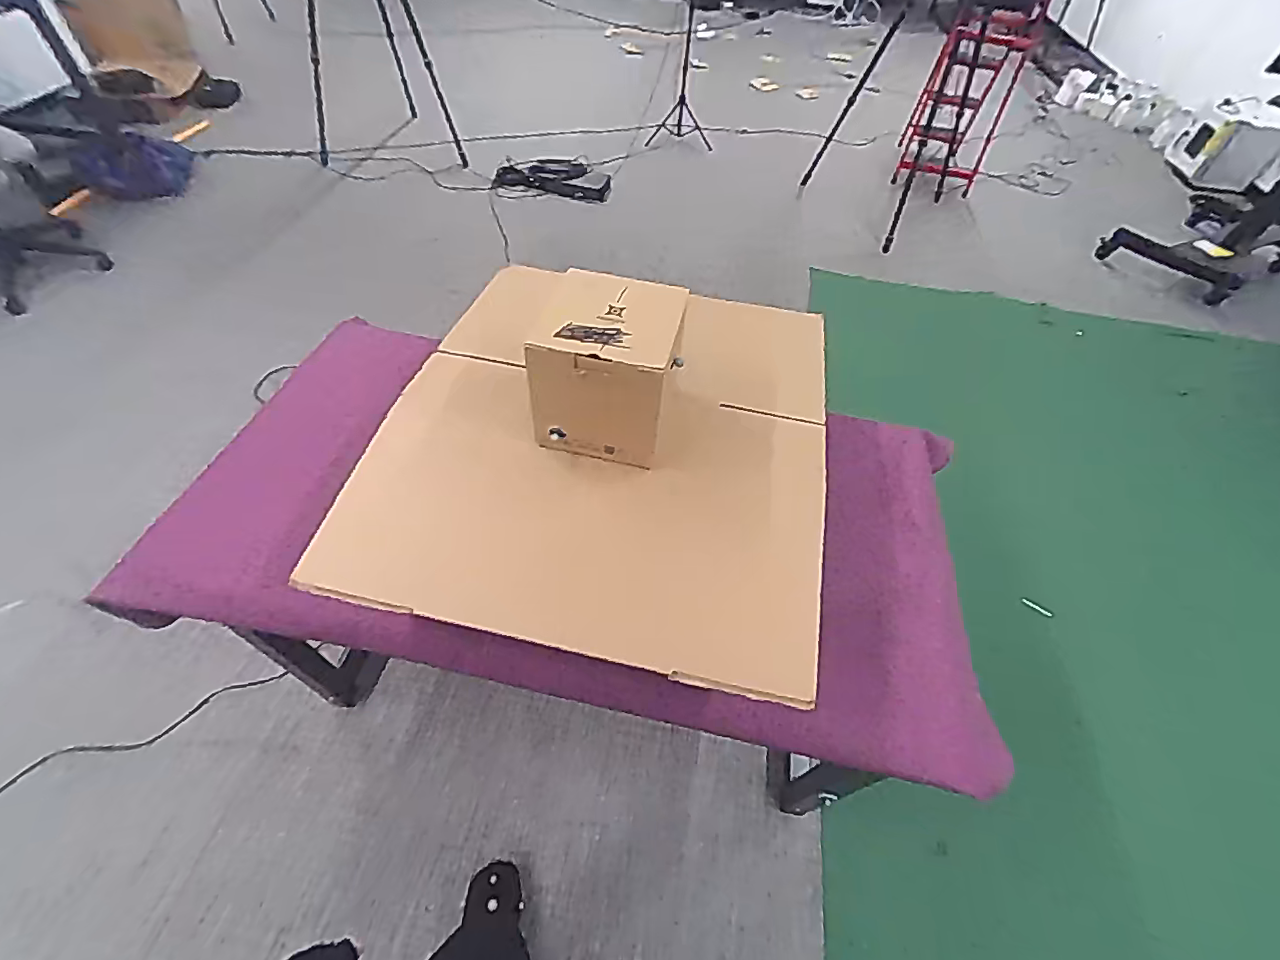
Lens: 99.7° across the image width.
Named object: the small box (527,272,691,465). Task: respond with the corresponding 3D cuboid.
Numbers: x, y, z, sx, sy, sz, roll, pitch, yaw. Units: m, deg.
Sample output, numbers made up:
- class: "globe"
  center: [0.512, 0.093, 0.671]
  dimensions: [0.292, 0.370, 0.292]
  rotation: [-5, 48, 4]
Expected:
- class: "small box"
  center: [-0.035, -0.145, 0.720]
  dimensions: [0.168, 0.176, 0.179]
  rotation: [12, 50, 5]
